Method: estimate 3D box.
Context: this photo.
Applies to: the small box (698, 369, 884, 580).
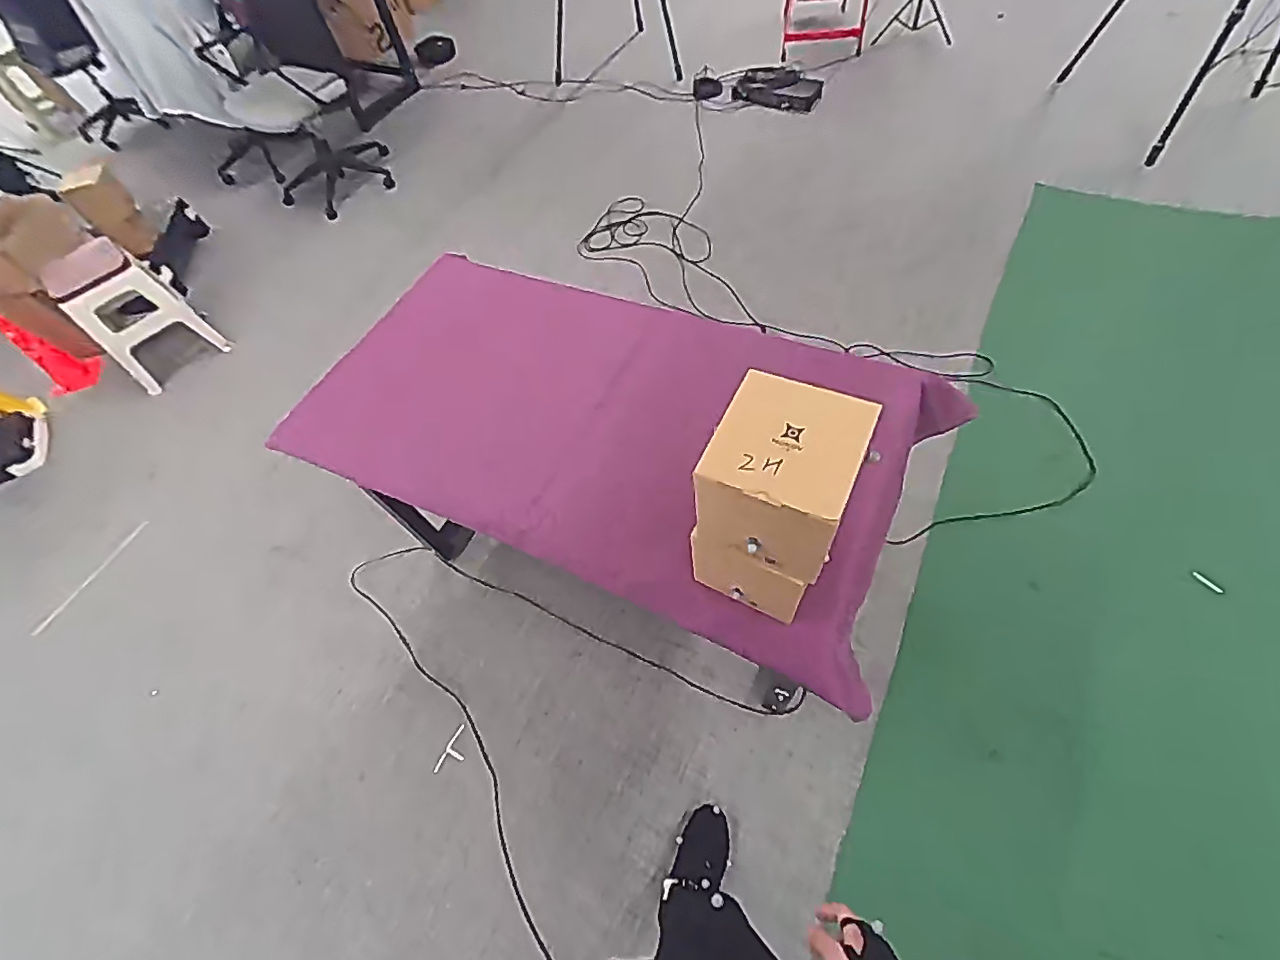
[{"bbox_3d":[0.183,-0.005,0.685,0.168,0.176,0.179,21,63,21],"label":"small box"}]
